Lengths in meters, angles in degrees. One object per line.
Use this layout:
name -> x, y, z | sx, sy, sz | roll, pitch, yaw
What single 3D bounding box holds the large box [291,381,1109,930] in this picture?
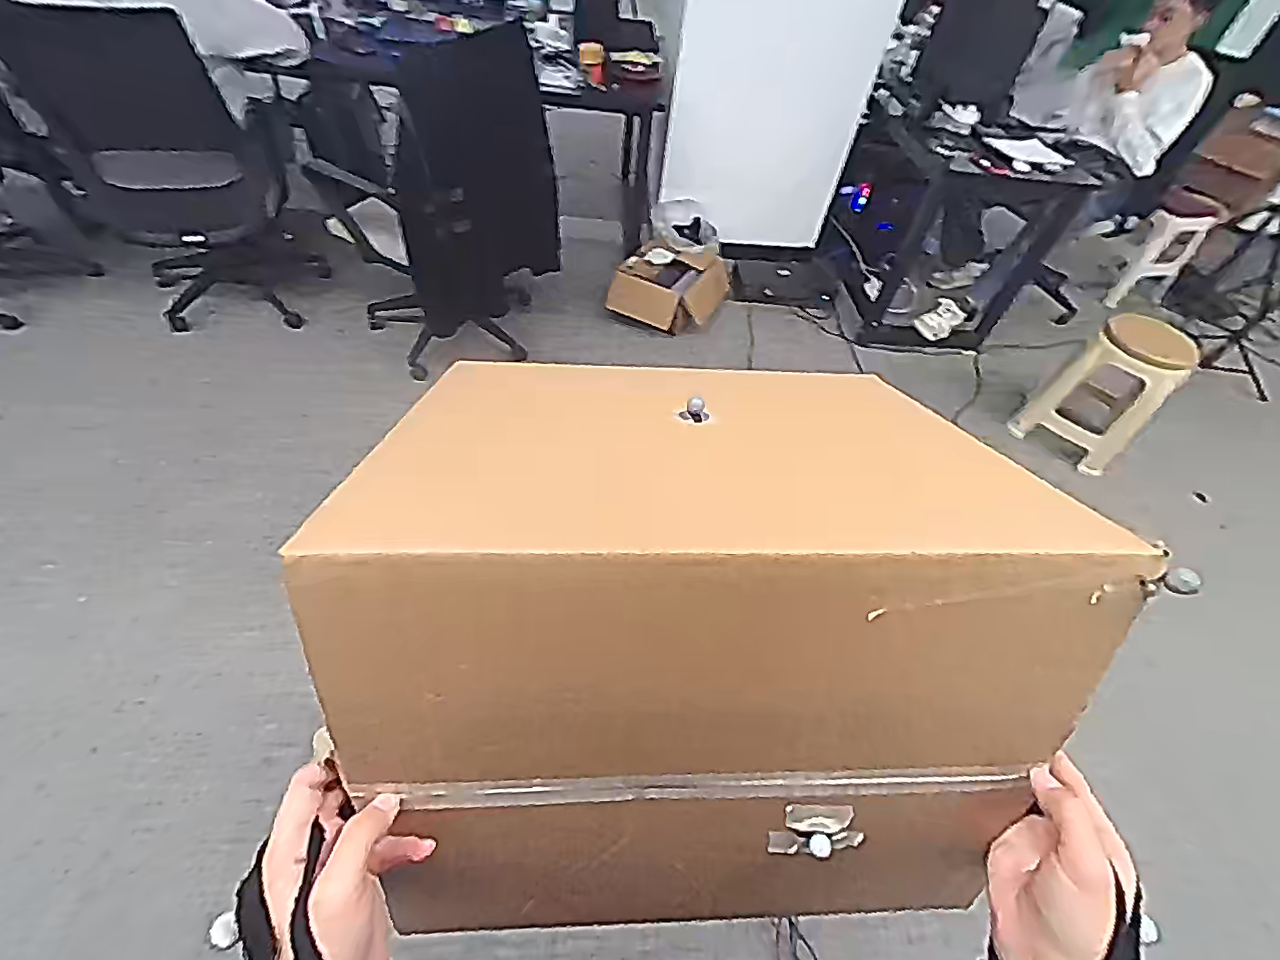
large box -> 0.023, 0.105, 0.454 | 0.408, 0.320, 0.320 | 0, 28, -5
